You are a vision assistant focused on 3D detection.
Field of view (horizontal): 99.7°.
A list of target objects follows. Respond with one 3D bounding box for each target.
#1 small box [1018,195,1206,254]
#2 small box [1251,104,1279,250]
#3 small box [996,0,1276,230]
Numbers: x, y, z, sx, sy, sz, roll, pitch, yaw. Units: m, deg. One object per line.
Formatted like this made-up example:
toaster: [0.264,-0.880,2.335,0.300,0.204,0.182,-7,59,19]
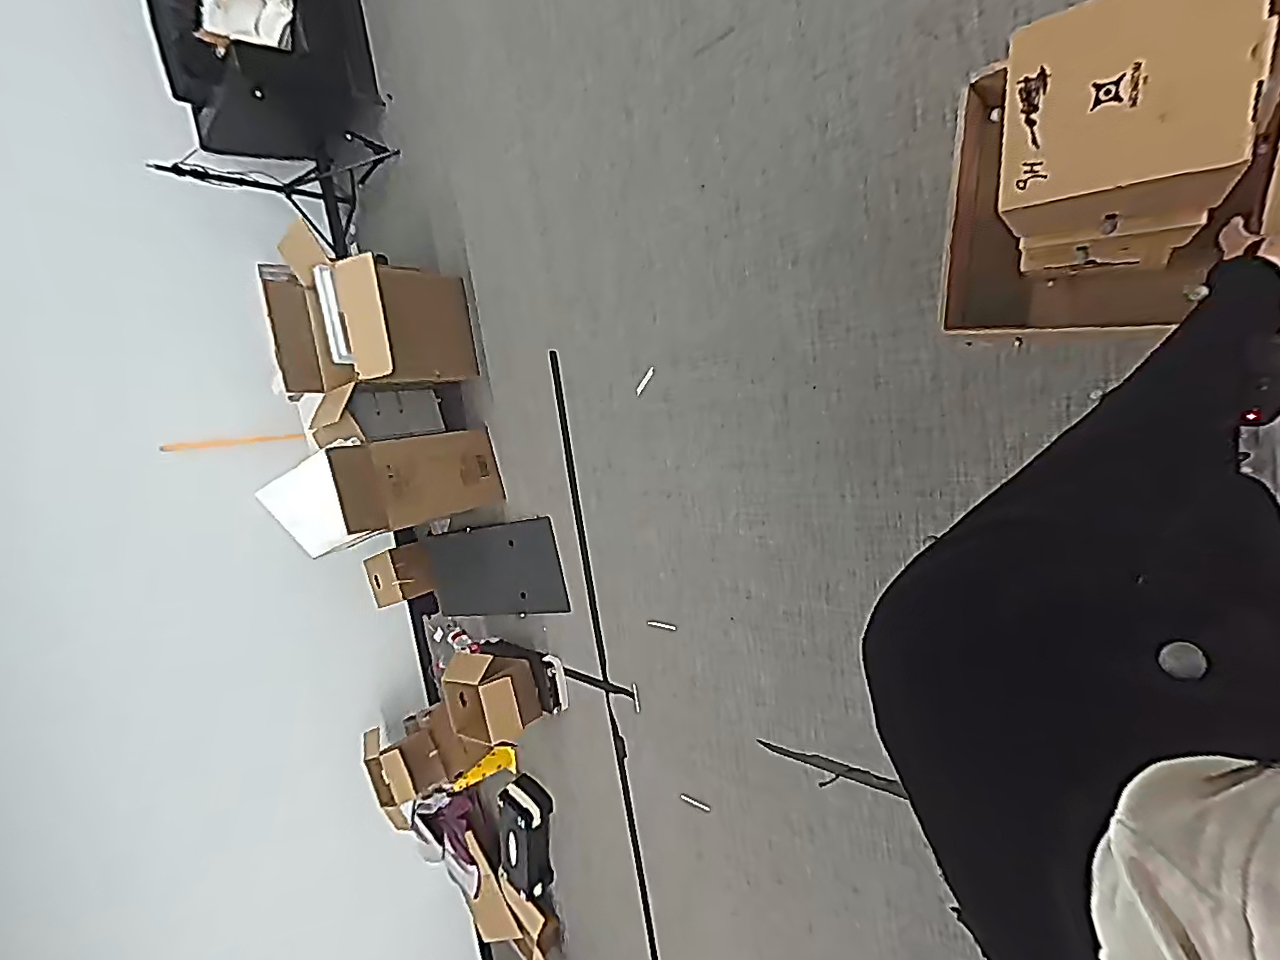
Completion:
small box: [0.582,-0.382,0.660,0.168,0.176,0.179,9,106,40]
small box: [0.735,-0.336,0.524,0.168,0.176,0.179,12,108,43]
small box: [0.475,-0.362,0.537,0.179,0.176,0.168,7,104,40]
